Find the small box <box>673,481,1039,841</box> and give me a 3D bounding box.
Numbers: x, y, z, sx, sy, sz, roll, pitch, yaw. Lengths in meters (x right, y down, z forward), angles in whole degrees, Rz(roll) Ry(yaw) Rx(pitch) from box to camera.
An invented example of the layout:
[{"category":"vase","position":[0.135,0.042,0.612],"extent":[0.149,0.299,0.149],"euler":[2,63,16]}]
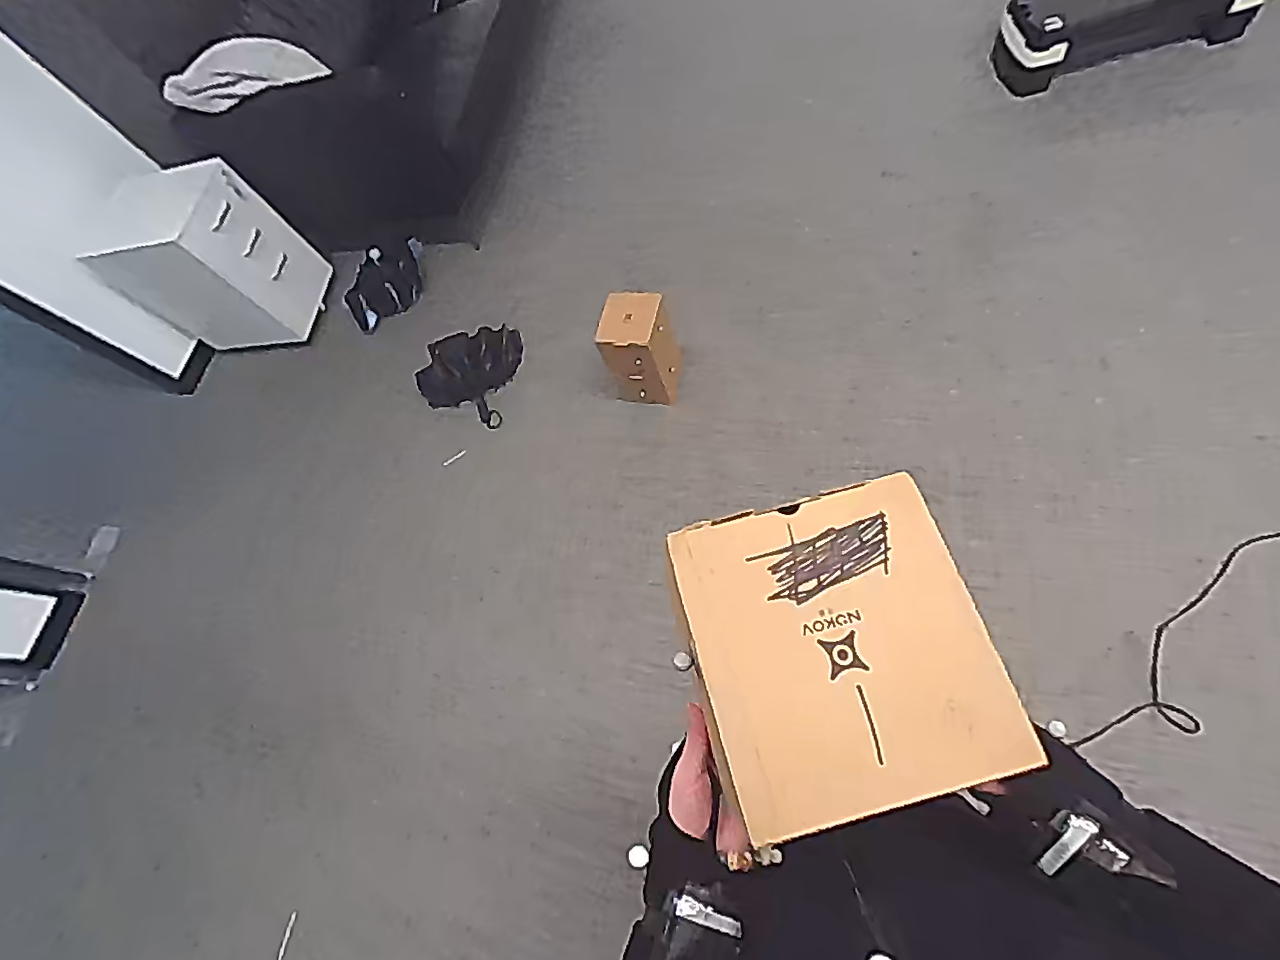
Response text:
[{"category":"small box","position":[0.121,0.124,0.392],"extent":[0.168,0.176,0.179],"euler":[-14,69,-1]}]
